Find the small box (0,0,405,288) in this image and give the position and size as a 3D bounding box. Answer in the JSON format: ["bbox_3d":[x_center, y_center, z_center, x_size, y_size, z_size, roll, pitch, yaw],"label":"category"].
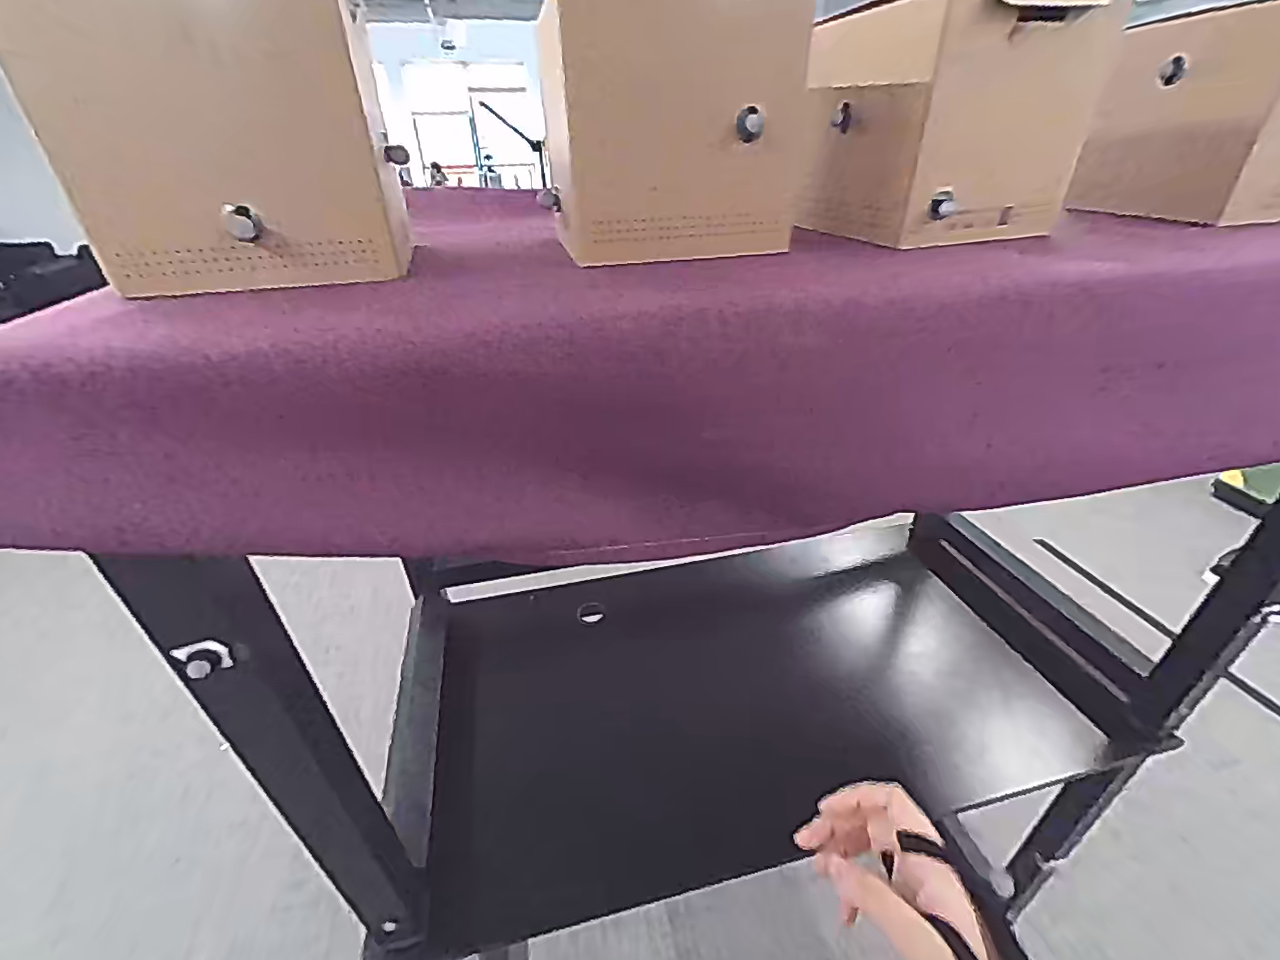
[{"bbox_3d":[-0.275,-0.240,0.378,0.179,0.176,0.168,-9,33,-14],"label":"small box"}]

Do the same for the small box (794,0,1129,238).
[{"bbox_3d":[0.256,-0.312,0.473,0.168,0.176,0.179,-11,33,-15],"label":"small box"}]

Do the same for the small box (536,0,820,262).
[{"bbox_3d":[0.017,-0.282,0.437,0.179,0.176,0.168,-8,33,-10],"label":"small box"}]

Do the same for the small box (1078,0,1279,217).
[{"bbox_3d":[0.583,-0.352,0.518,0.168,0.176,0.179,-7,32,-7],"label":"small box"}]
